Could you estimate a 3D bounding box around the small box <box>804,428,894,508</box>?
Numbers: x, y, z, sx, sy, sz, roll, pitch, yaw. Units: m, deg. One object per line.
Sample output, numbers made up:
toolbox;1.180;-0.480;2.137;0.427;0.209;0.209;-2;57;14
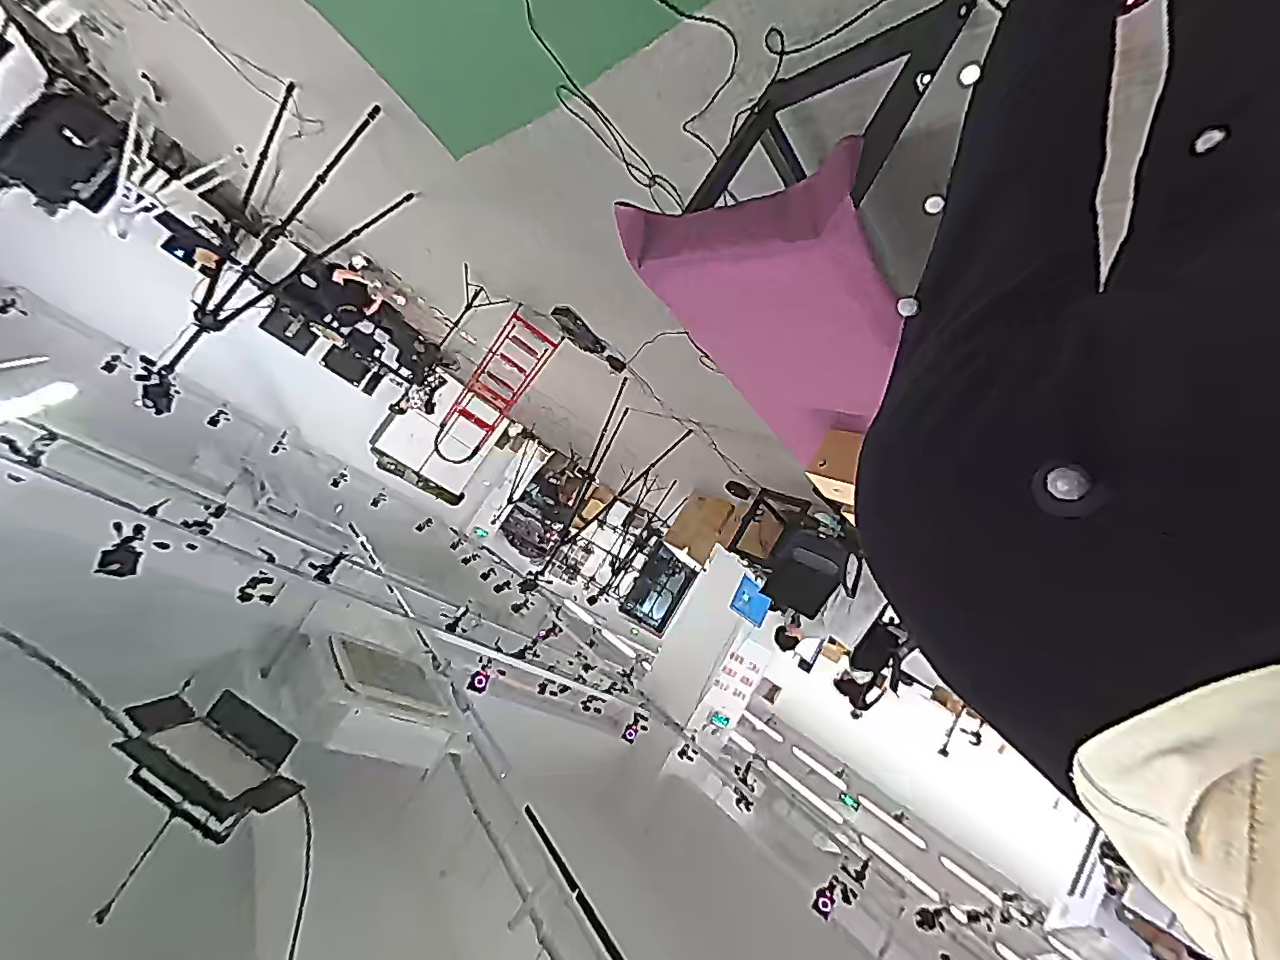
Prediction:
small box;0.649;-0.043;1.676;0.179;0.176;0.168;20;166;50
